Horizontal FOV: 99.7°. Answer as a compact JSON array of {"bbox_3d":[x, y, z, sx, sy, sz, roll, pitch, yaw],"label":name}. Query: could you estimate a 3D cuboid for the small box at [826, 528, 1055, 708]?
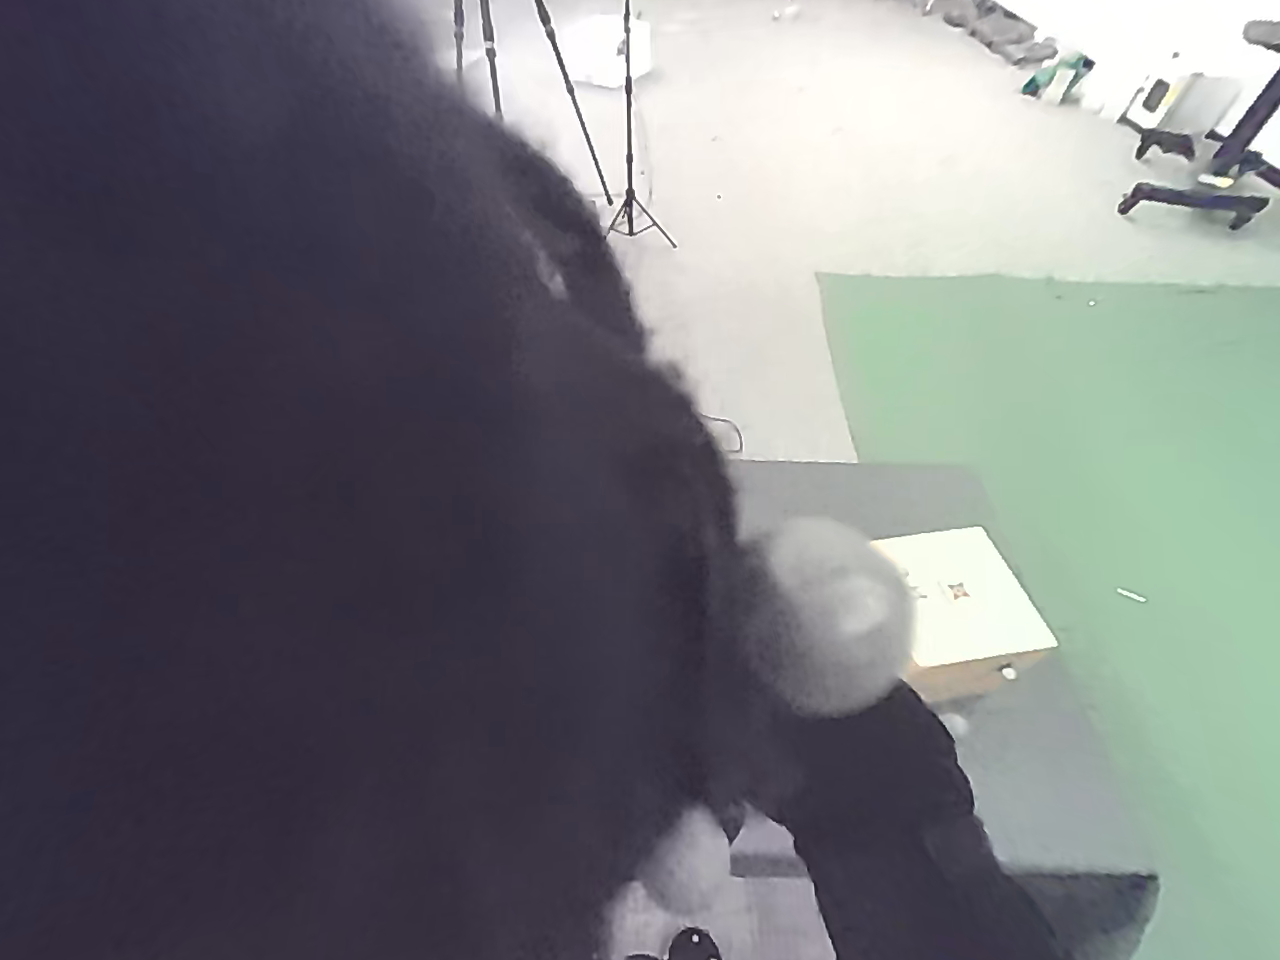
[{"bbox_3d":[0.372,0.184,0.711,0.179,0.176,0.168,-7,51,-5],"label":"small box"}]
